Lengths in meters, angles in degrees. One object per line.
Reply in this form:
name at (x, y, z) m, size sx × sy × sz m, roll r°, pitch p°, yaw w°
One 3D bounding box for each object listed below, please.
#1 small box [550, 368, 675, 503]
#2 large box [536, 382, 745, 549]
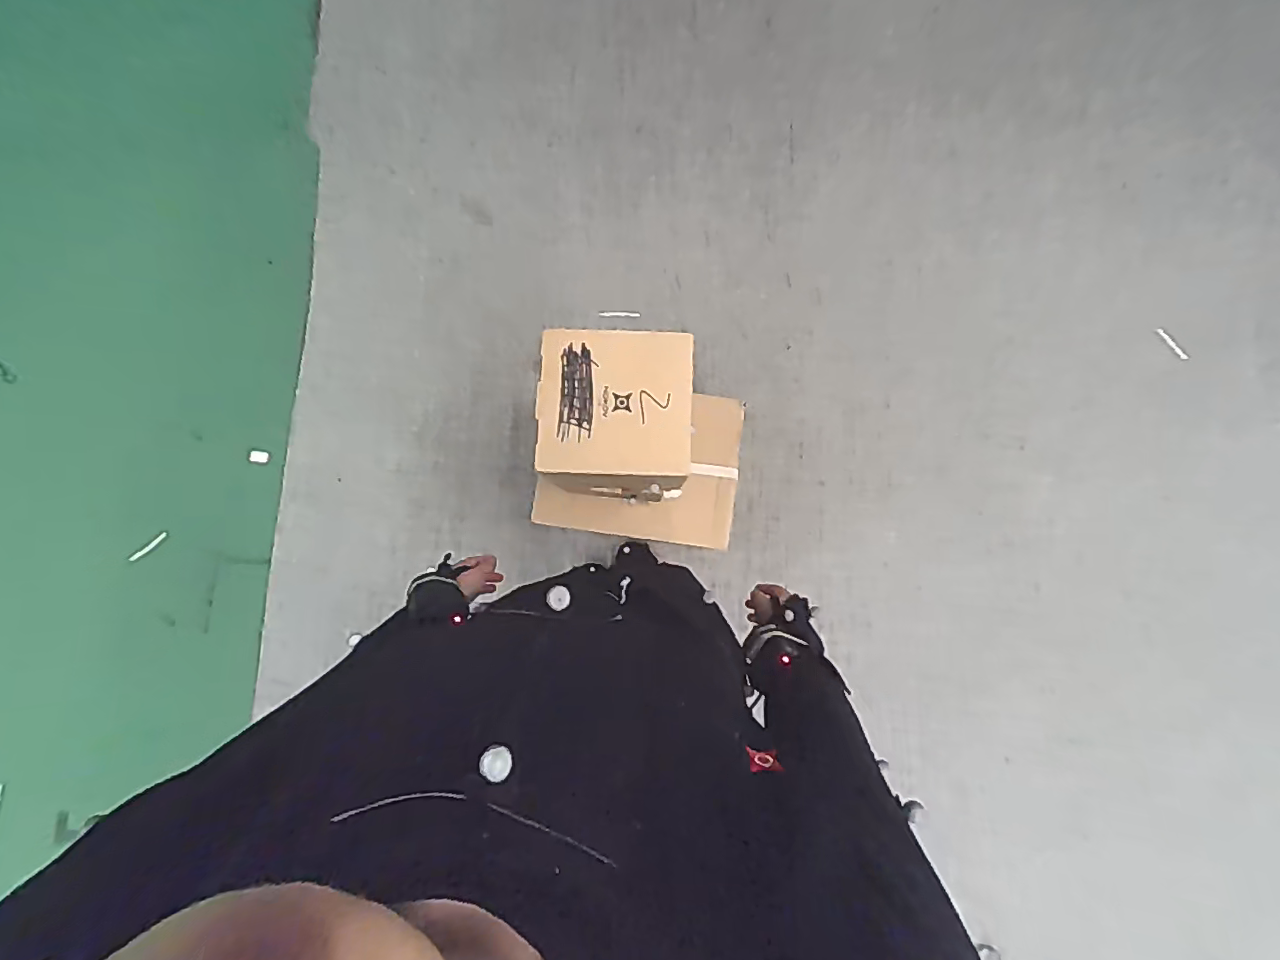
small box at (-0.036, -0.060, 0.847) m, size 0.168 × 0.176 × 0.179 m, roll 5°, pitch 83°, yaw 1°
large box at (0.004, -0.017, 1.248) m, size 0.408 × 0.320 × 0.320 m, roll 7°, pitch 85°, yaw 2°
